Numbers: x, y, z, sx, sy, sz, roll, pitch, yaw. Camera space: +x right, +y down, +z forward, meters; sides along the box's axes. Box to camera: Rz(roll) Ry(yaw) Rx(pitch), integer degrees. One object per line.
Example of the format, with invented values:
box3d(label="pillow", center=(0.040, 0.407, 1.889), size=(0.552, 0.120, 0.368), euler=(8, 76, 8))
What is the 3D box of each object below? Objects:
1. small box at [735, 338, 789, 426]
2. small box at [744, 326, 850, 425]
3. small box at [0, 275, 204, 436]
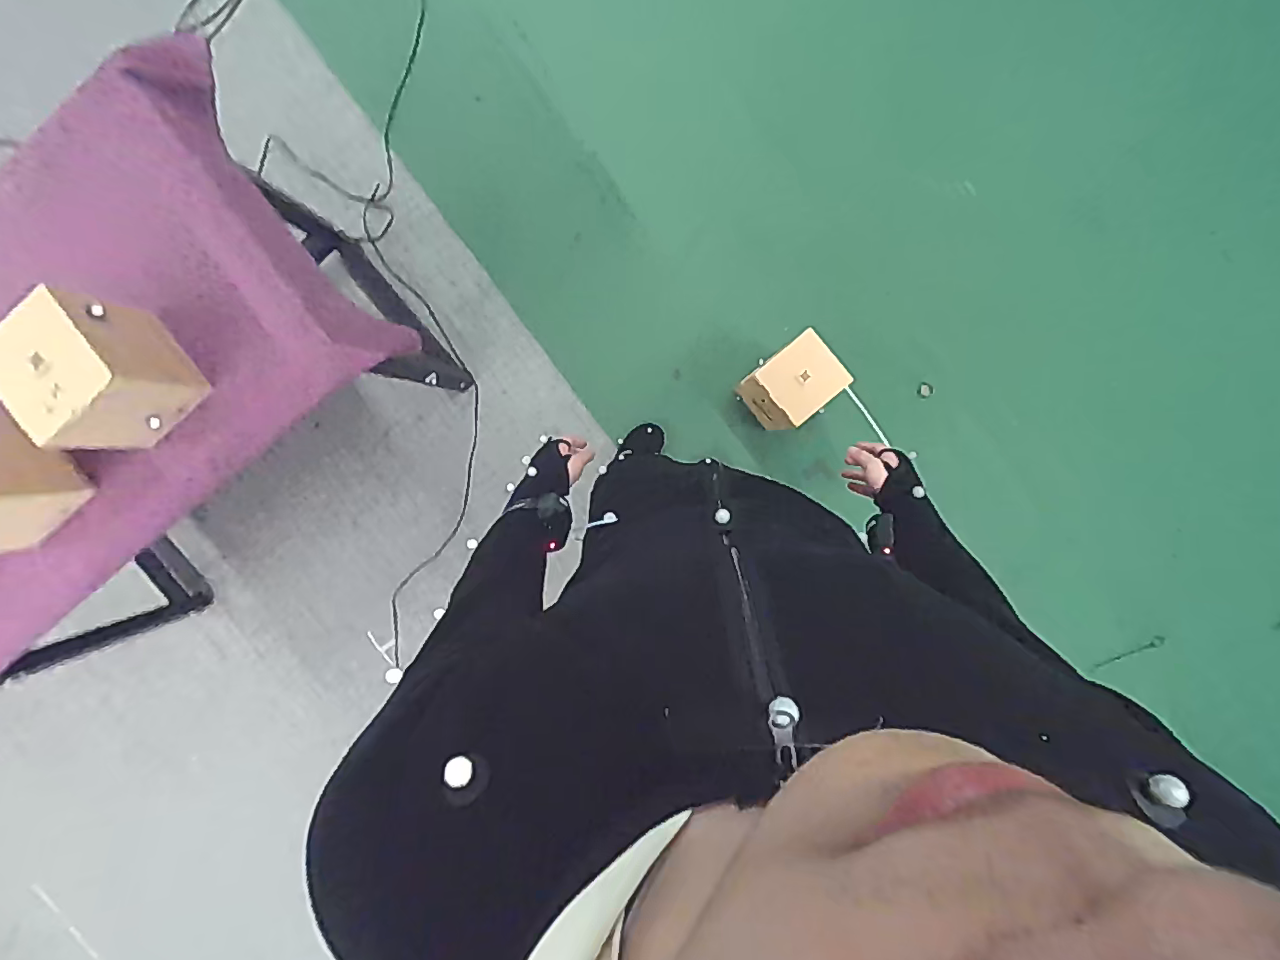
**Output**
box3d(label="small box", center=(0.382, -0.265, 1.514), size=(0.179, 0.176, 0.168), euler=(-39, 92, 4))
box3d(label="small box", center=(0.382, -0.255, 1.352), size=(0.179, 0.176, 0.168), euler=(-40, 92, 5))
box3d(label="small box", center=(-0.860, -0.181, 0.852), size=(0.168, 0.176, 0.179), euler=(-37, 91, 6))
